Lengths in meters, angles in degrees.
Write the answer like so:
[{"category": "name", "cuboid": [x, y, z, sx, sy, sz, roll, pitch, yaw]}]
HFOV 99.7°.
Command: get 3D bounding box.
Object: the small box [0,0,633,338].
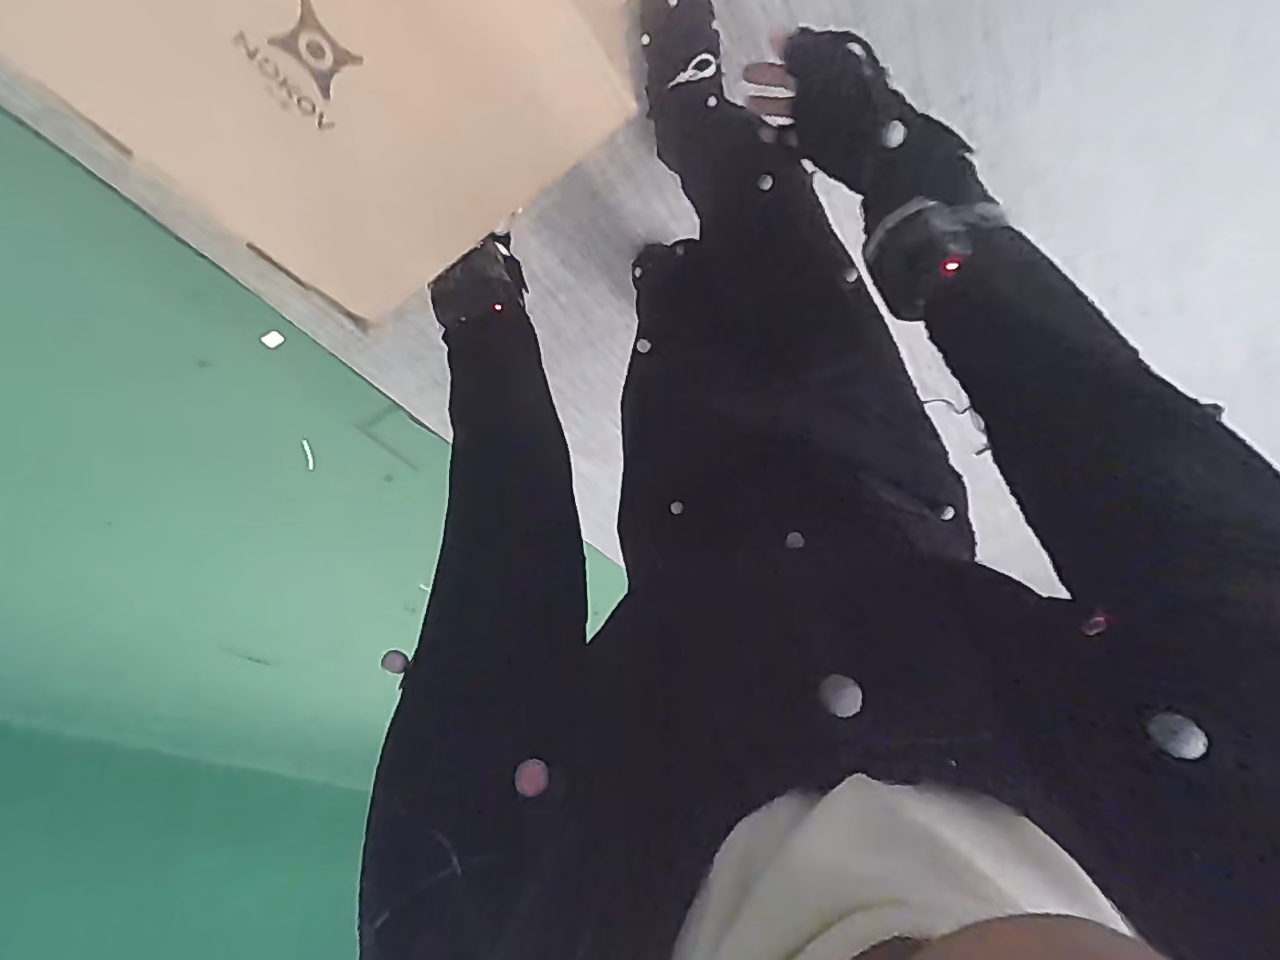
[{"category": "small box", "cuboid": [-0.120, -0.210, 0.254, 0.179, 0.176, 0.168, -27, 136, 24]}]
